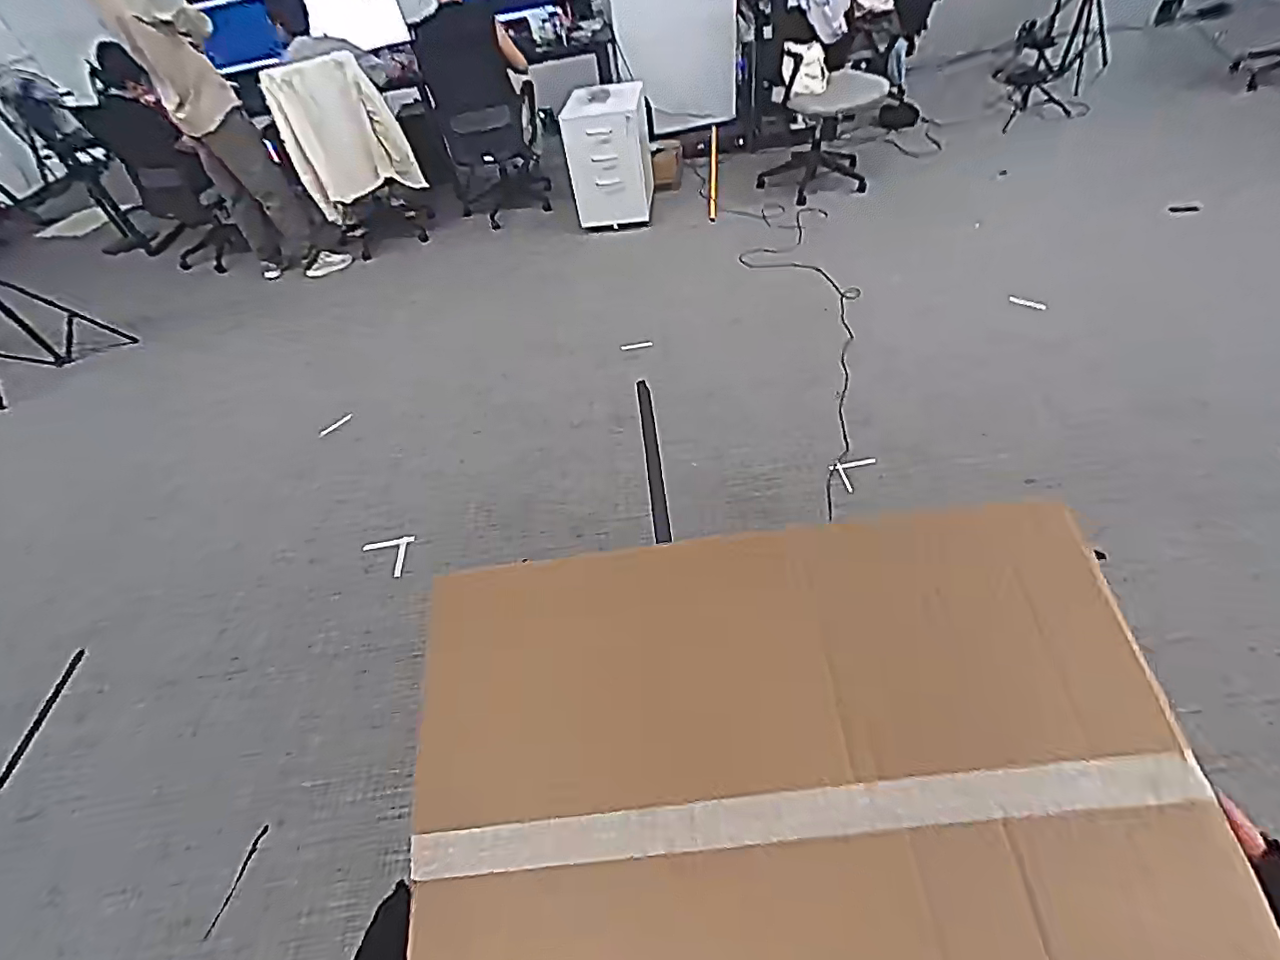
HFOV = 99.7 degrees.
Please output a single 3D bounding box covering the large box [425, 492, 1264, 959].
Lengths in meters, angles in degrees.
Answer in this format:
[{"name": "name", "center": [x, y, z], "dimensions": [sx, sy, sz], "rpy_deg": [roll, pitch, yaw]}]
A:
[{"name": "large box", "center": [0.093, 0.238, 0.426], "dimensions": [0.408, 0.320, 0.320], "rpy_deg": [-8, 64, 3]}]
